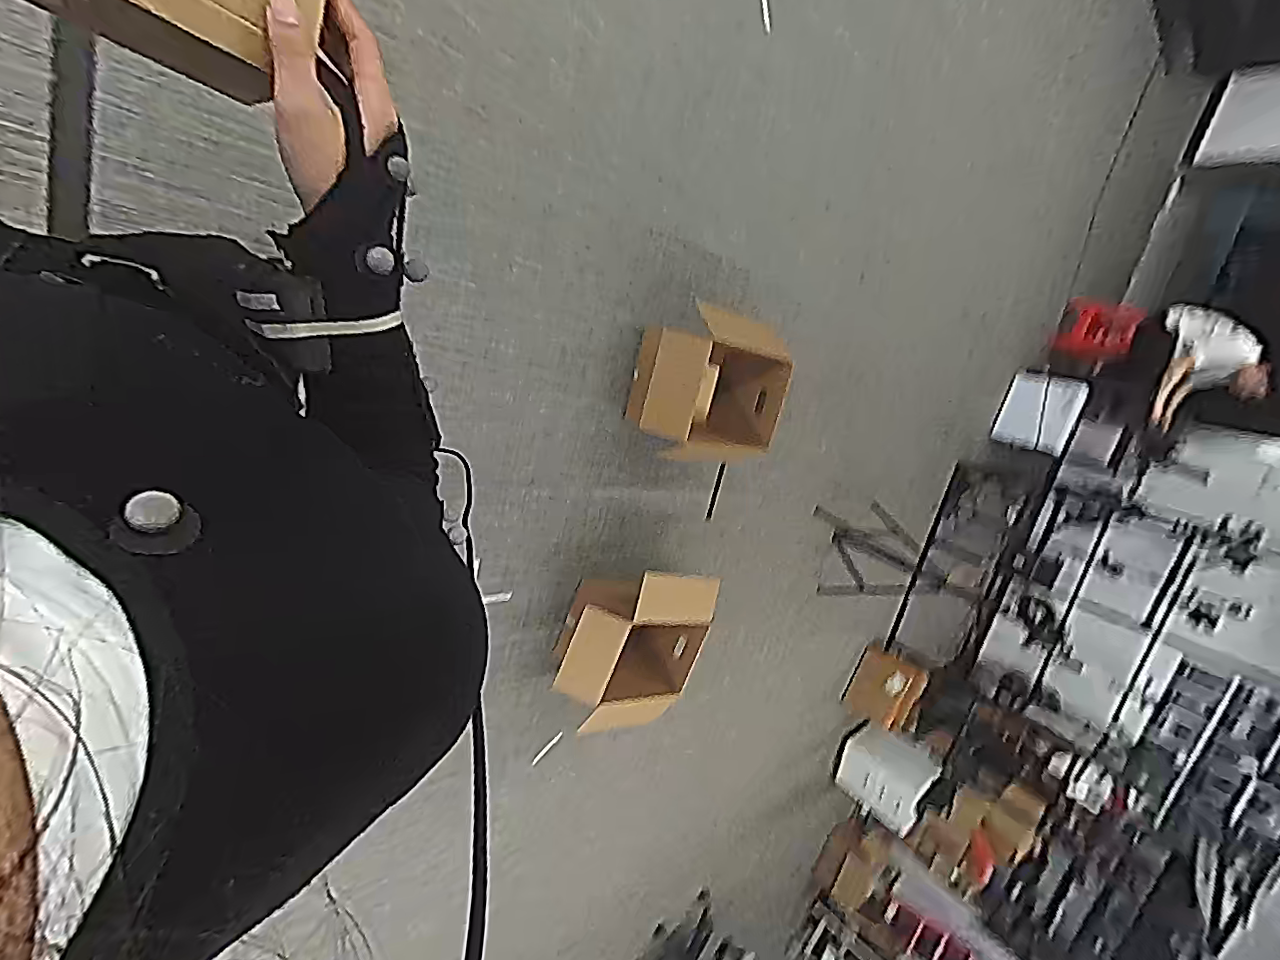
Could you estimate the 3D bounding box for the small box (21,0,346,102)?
[{"bbox_3d":[-0.265,-0.325,0.280,0.179,0.176,0.168,6,109,-49],"label":"small box"}]
